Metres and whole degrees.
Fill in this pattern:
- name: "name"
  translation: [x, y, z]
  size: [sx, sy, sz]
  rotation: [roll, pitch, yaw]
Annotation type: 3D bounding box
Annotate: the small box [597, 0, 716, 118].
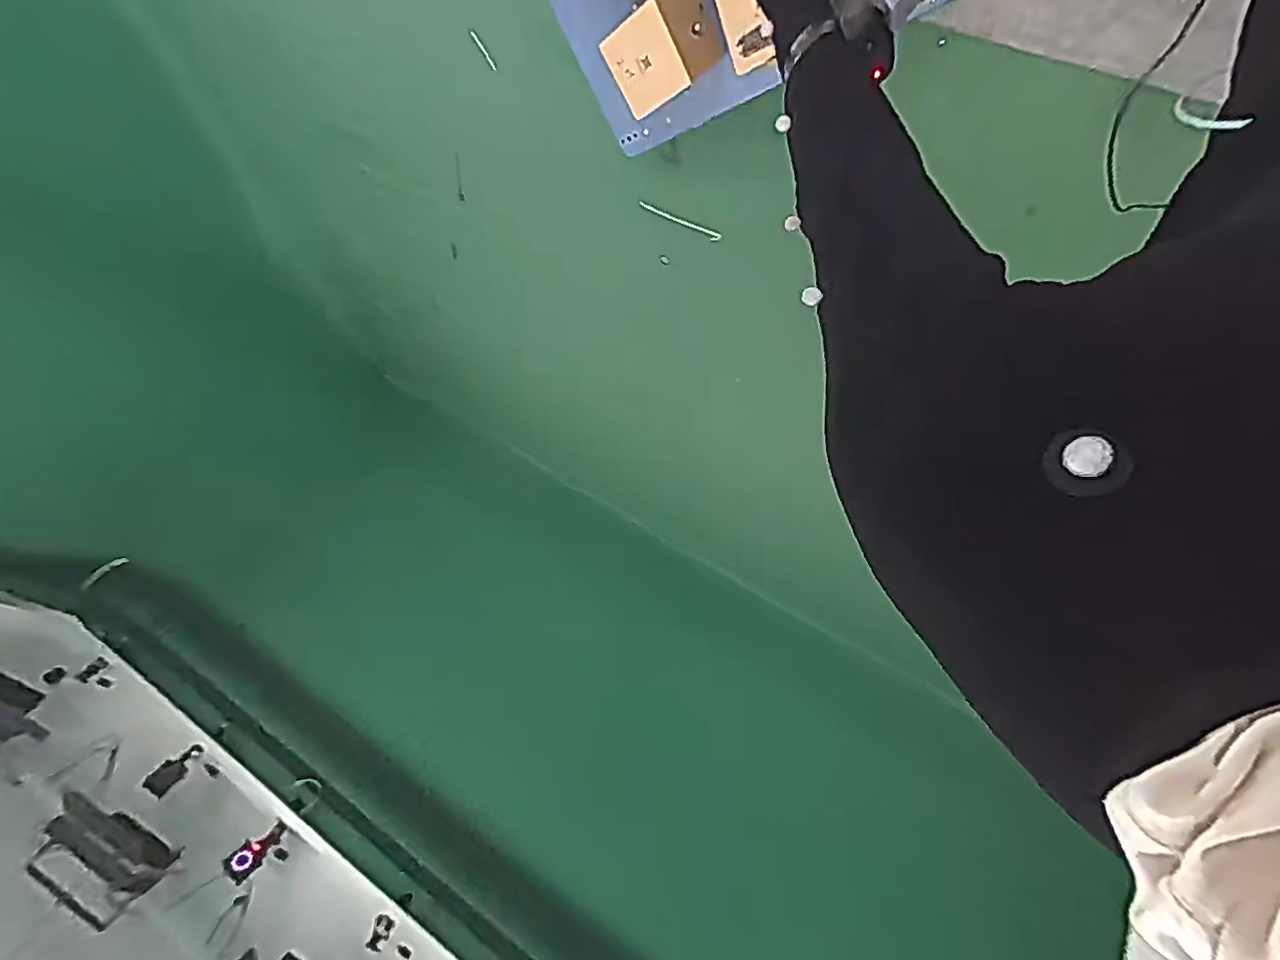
- name: "small box"
  translation: [0.046, -0.954, 1.191]
  size: [0.179, 0.176, 0.168]
  rotation: [2, 138, 47]
